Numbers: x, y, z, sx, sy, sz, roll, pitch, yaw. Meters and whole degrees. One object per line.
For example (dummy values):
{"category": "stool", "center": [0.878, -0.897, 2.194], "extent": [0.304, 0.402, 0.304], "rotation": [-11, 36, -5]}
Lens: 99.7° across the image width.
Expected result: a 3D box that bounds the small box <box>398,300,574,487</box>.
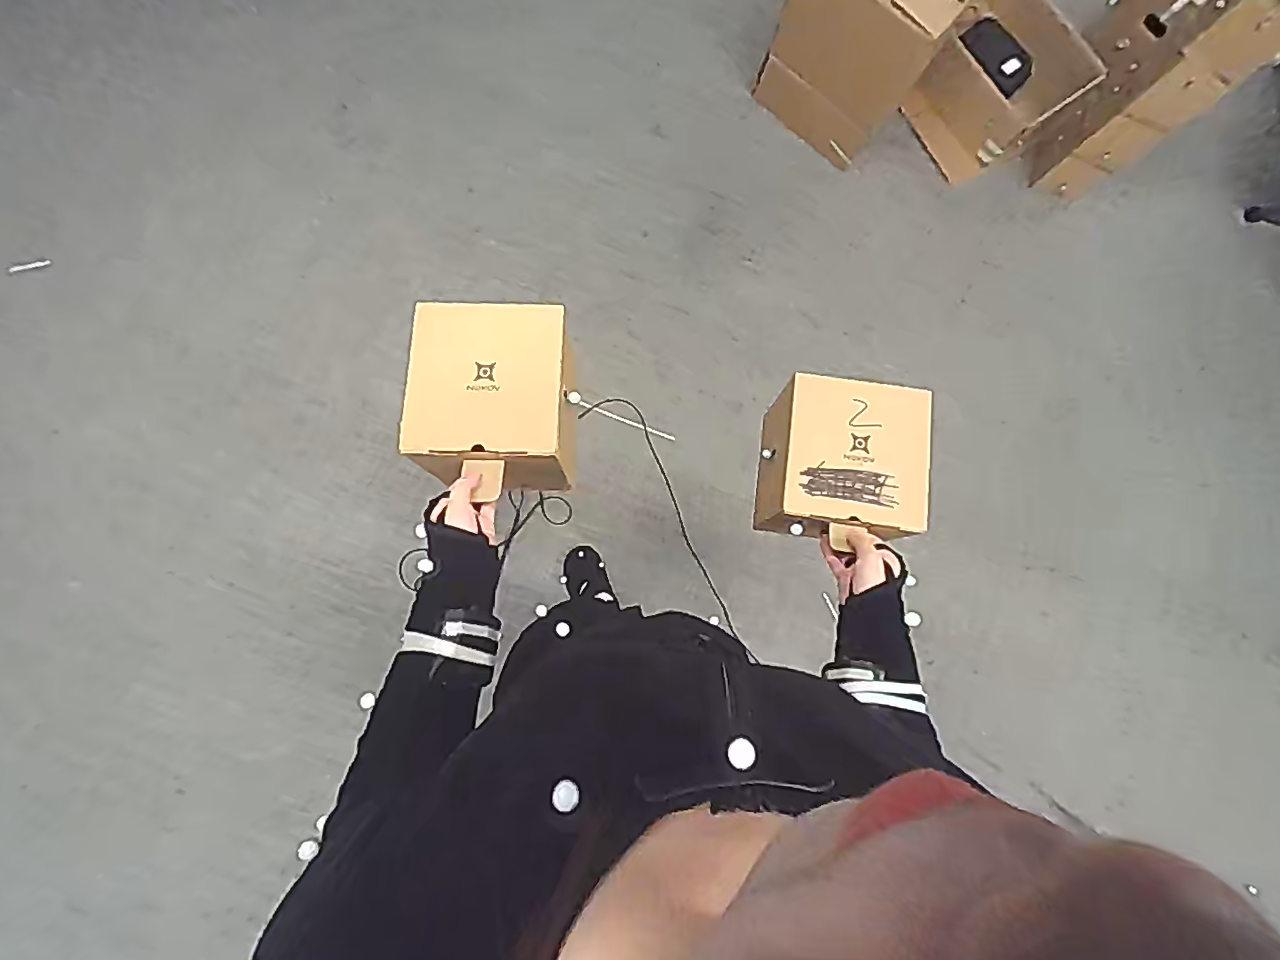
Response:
{"category": "small box", "center": [-0.172, -0.096, 0.664], "extent": [0.168, 0.176, 0.179], "rotation": [1, 77, -1]}
